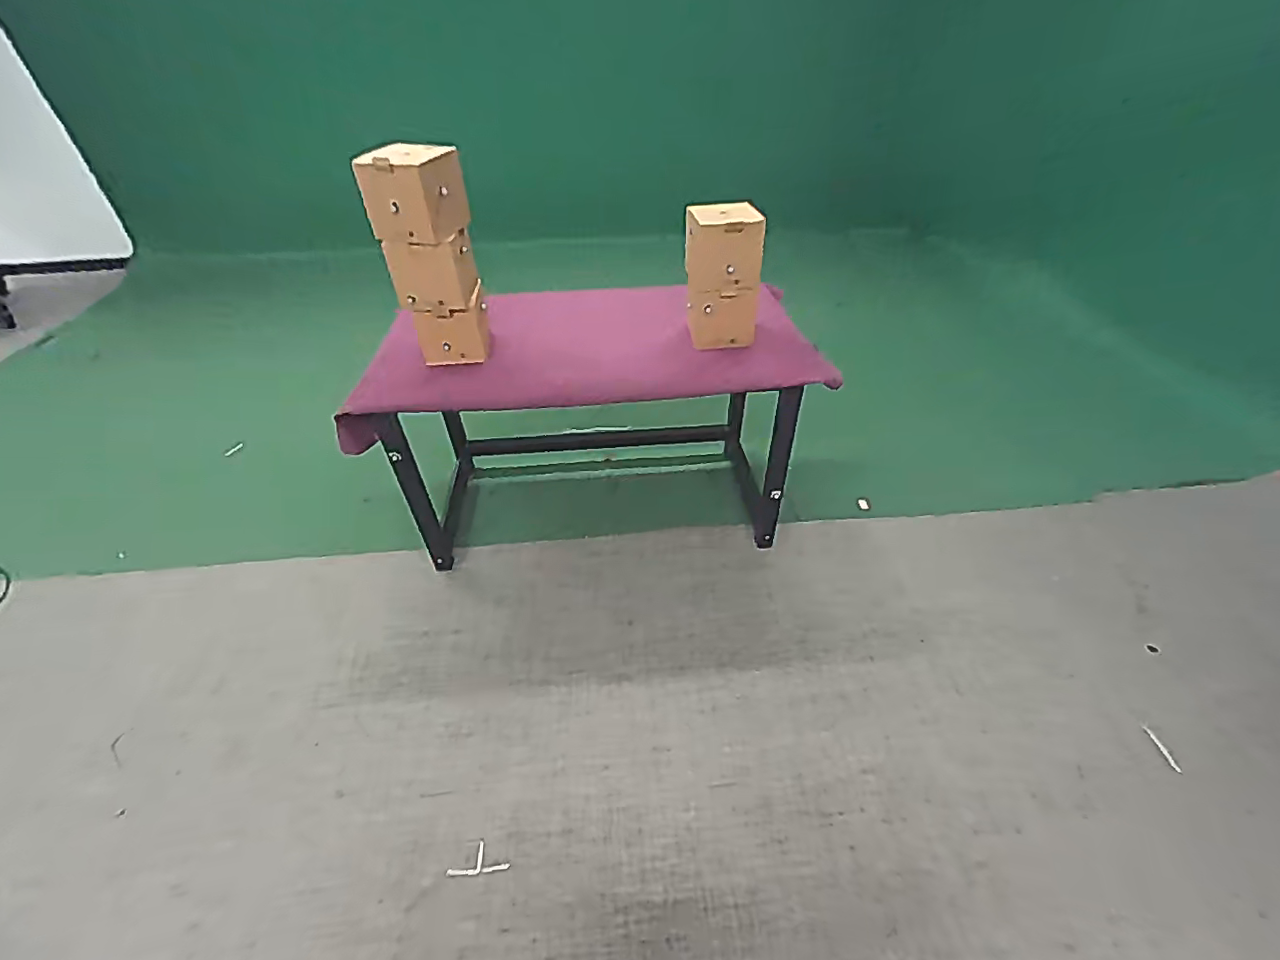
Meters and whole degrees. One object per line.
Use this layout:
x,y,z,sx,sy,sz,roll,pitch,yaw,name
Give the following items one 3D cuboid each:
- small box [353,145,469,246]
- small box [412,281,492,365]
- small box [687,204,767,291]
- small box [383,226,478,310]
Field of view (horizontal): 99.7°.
-0.526,-0.671,1.276,0.168,0.176,0.179,11,45,11,small box
-0.515,-0.438,1.508,0.168,0.176,0.179,-5,43,-4,small box
0.221,-0.615,1.431,0.168,0.176,0.179,-6,42,-5,small box
-0.524,-0.548,1.385,0.168,0.176,0.179,-1,42,-1,small box
